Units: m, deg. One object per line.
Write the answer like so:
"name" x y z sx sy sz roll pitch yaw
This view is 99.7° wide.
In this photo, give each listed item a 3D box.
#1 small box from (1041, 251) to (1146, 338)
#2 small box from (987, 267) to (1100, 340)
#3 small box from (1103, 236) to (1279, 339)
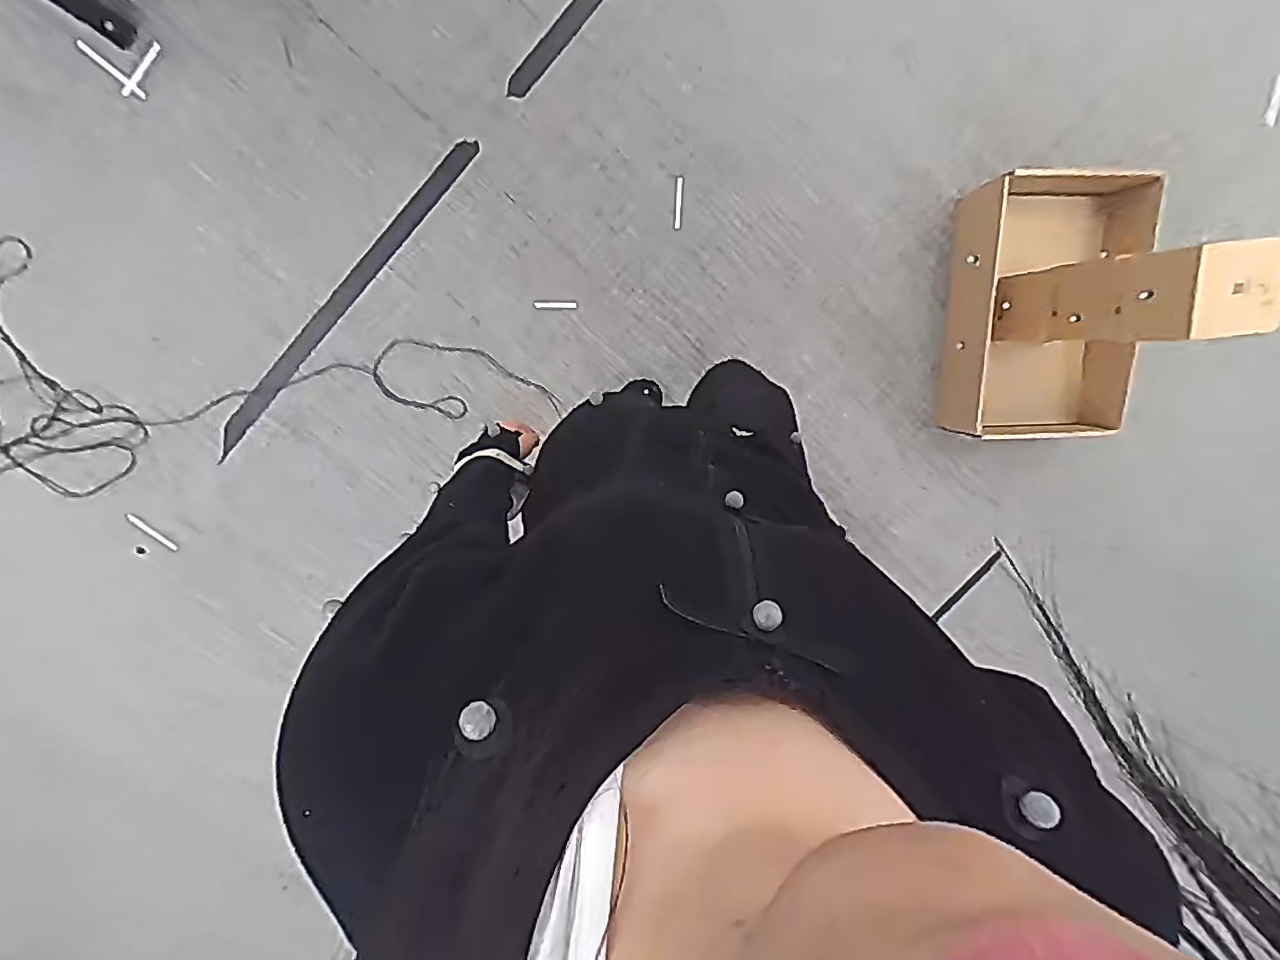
"small box" 1.040 -0.409 1.203 0.179 0.176 0.168 -7 105 -5
"small box" 1.023 -0.440 1.361 0.179 0.176 0.168 -2 104 -4
"small box" 1.052 -0.364 1.044 0.179 0.176 0.168 -7 106 -3
